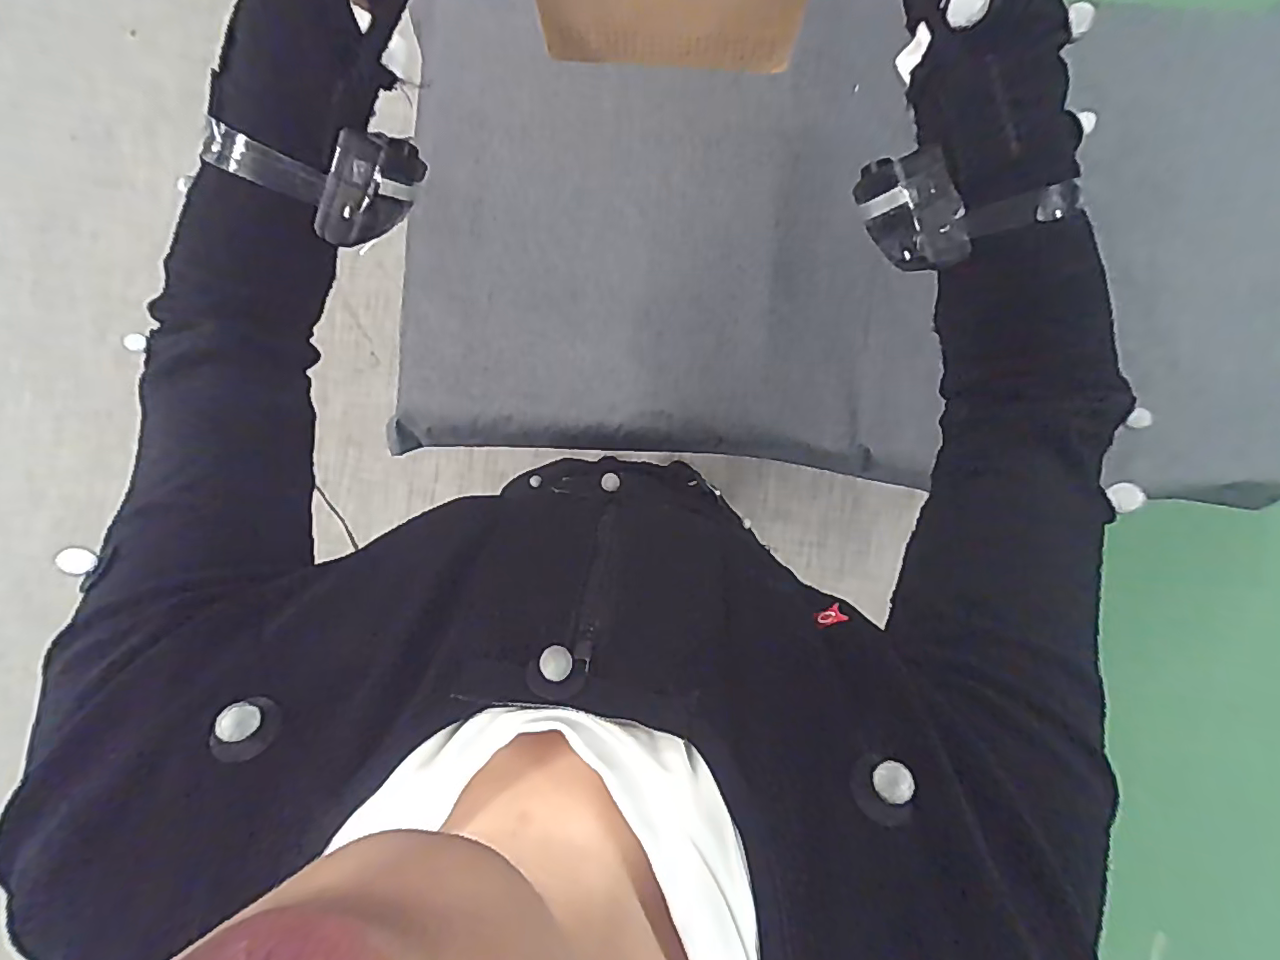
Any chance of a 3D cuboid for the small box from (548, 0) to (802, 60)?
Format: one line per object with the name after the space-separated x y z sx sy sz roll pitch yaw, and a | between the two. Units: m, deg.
0.026 -0.388 0.313 0.179 0.176 0.168 5 89 2 | small box
